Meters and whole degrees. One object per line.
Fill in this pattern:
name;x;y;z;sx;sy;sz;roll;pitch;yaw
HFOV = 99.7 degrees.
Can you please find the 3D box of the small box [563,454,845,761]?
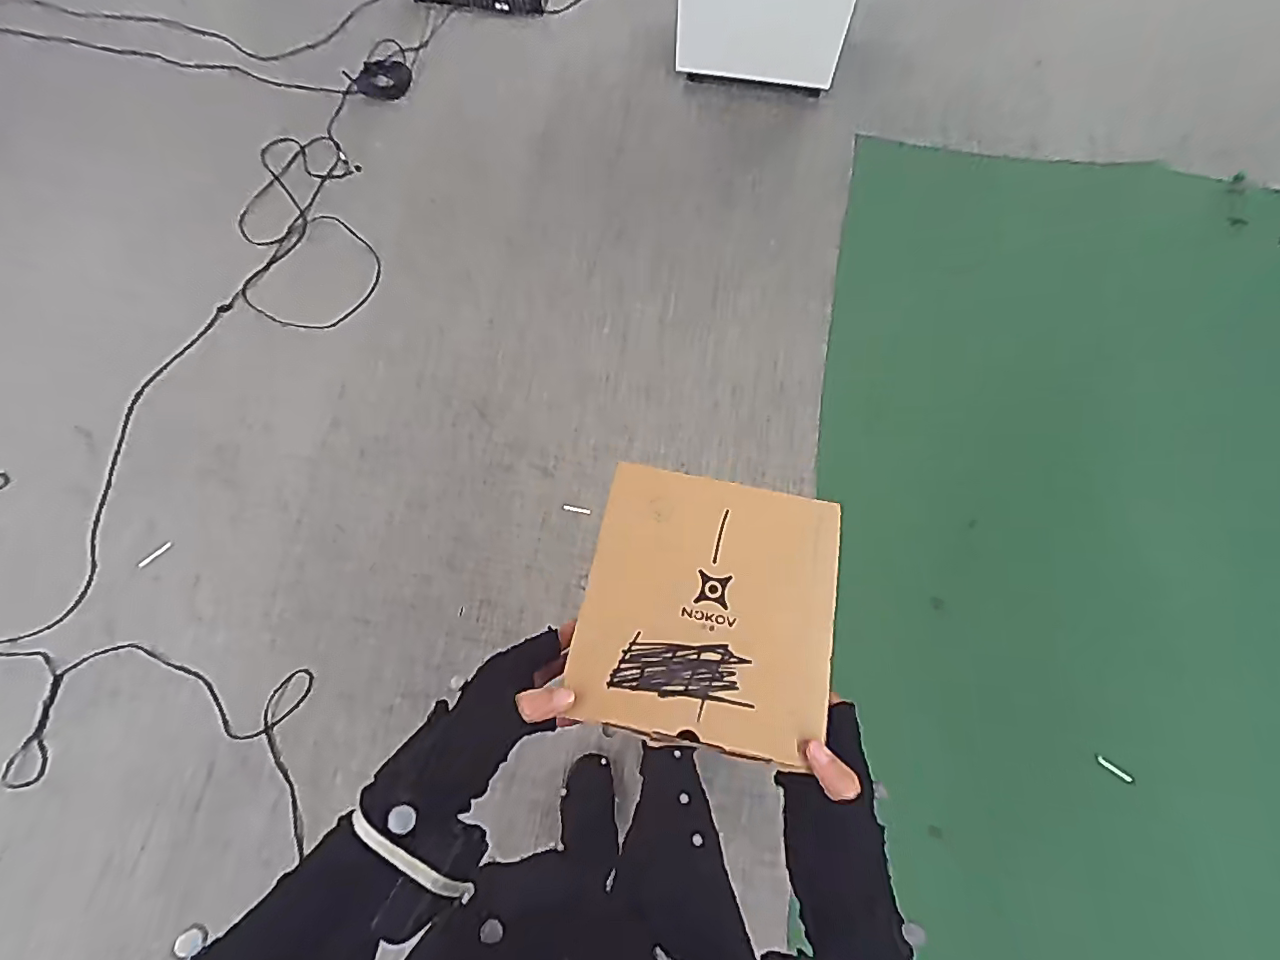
small box;0.047;0.105;0.434;0.168;0.176;0.179;12;67;3
